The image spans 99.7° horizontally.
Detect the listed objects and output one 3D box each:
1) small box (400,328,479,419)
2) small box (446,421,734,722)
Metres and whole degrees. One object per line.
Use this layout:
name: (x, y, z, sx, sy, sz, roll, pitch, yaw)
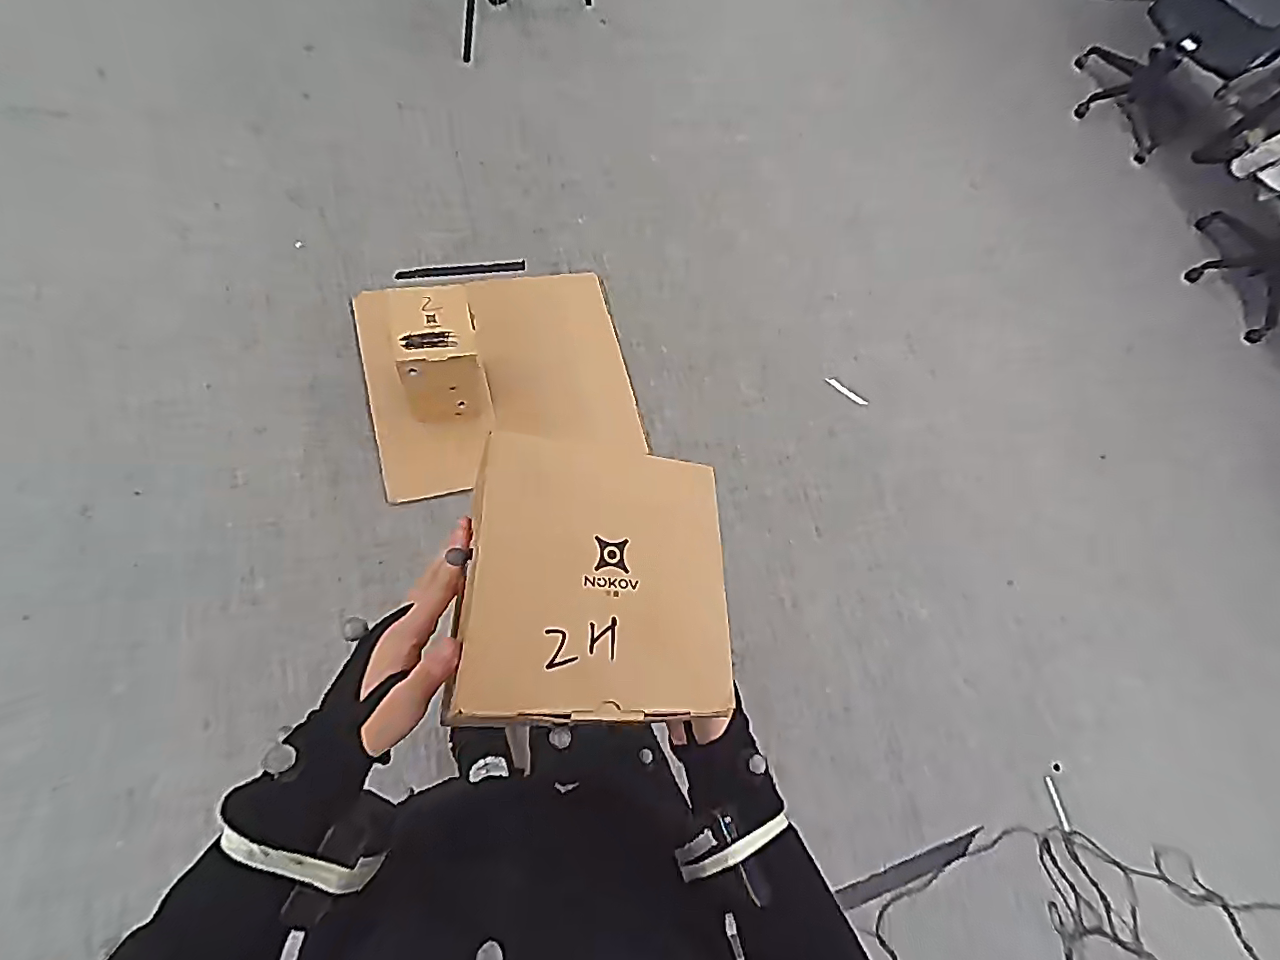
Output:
small box: (-0.504, -0.263, 1.375, 0.168, 0.176, 0.179, -8, 75, -18)
small box: (-0.048, 0.083, 0.412, 0.168, 0.176, 0.179, 9, 62, -20)
